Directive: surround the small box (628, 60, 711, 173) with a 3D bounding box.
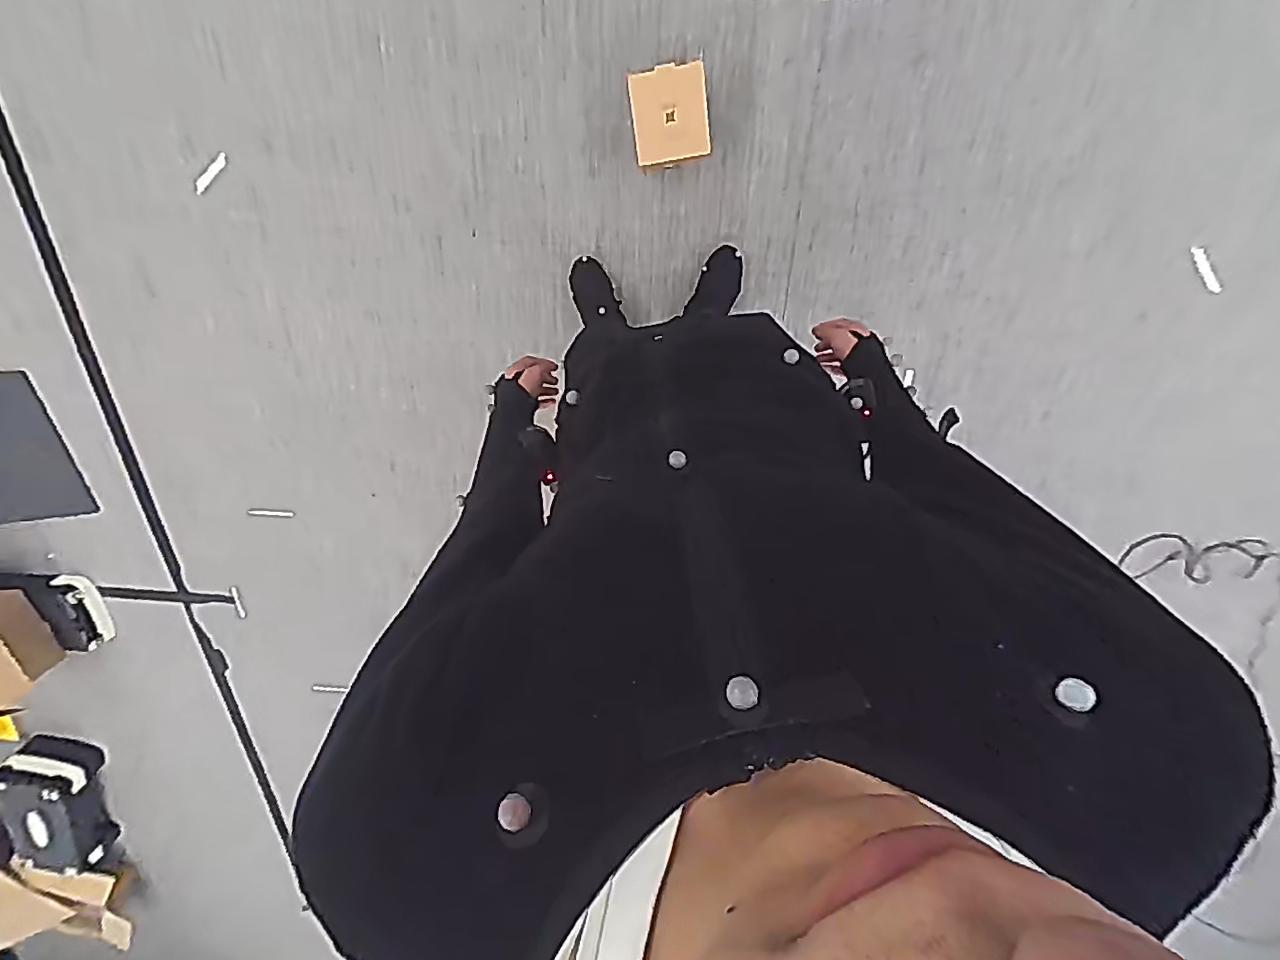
[{"bbox_3d":[0.068,-0.825,1.244,0.168,0.176,0.179,-7,115,6],"label":"small box"}]
